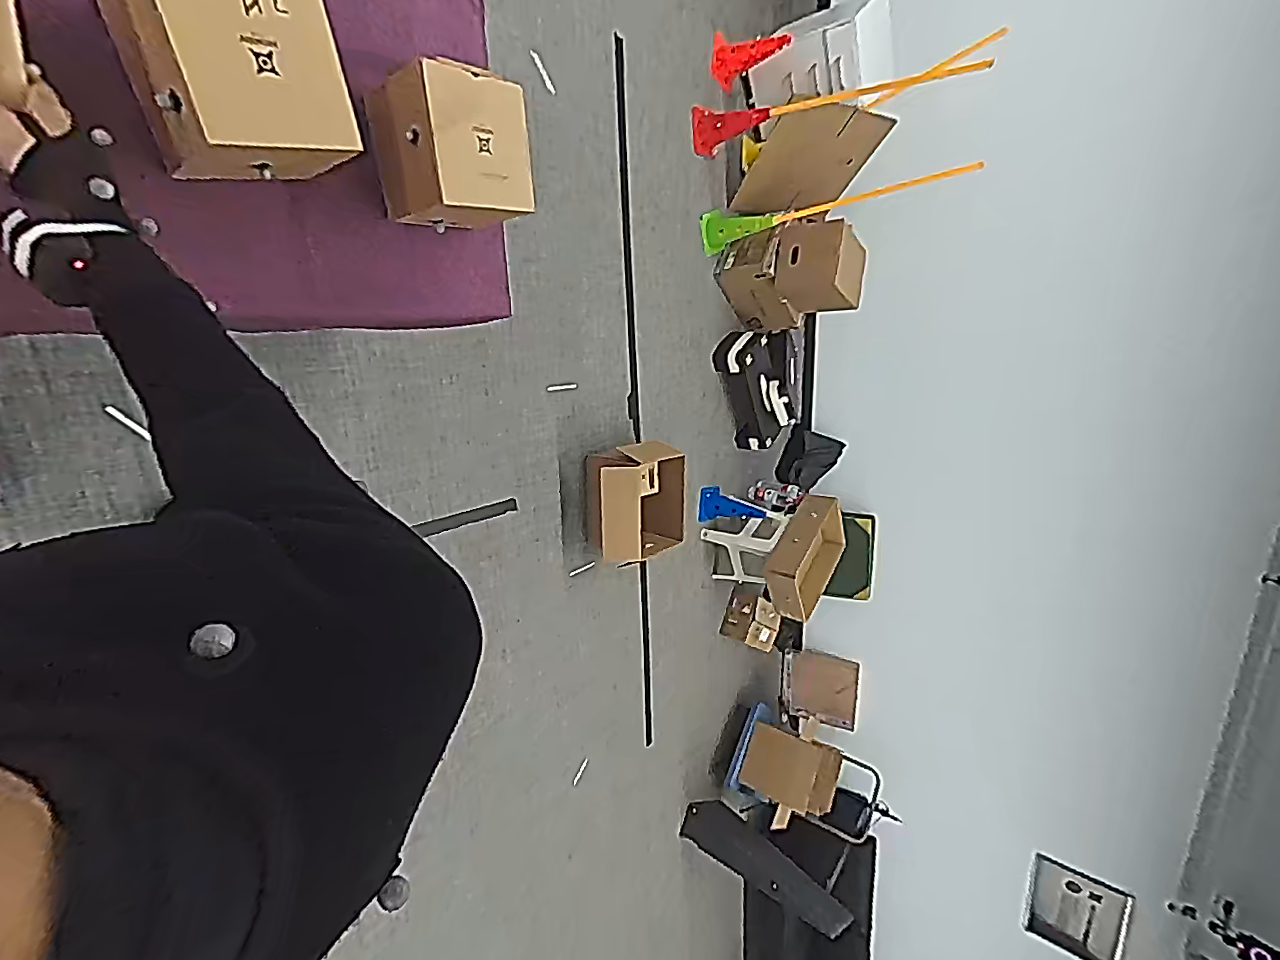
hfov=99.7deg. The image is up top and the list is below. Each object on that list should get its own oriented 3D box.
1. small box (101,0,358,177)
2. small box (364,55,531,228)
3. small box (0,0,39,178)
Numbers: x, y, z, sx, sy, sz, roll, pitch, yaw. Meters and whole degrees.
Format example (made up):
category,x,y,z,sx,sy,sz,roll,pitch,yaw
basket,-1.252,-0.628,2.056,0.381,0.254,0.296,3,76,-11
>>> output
category,x,y,z,sx,sy,sz,roll,pitch,yaw
small box,-0.467,-0.461,0.624,0.168,0.176,0.179,-32,121,-44
small box,-0.295,-0.501,0.832,0.168,0.176,0.179,-24,115,-46
small box,-0.625,-0.366,0.433,0.168,0.176,0.179,-12,113,-50
